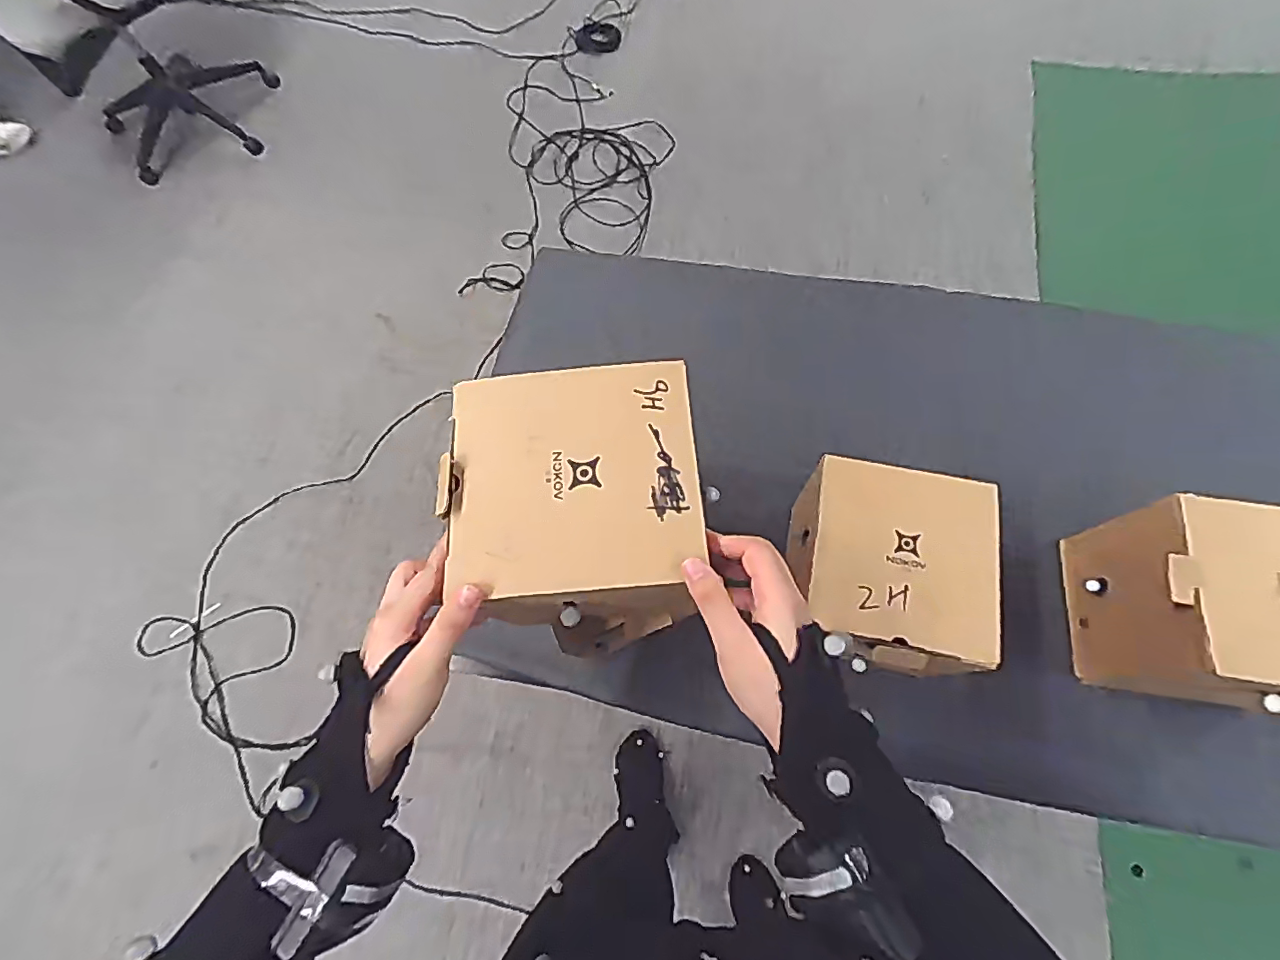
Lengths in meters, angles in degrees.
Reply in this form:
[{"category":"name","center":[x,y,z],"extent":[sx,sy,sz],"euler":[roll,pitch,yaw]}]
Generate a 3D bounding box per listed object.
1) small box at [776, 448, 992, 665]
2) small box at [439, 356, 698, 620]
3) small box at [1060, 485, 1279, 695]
[{"category":"small box","center":[0.247,0.090,0.580],"extent":[0.168,0.176,0.179],"euler":[10,70,9]},{"category":"small box","center":[-0.046,0.020,0.455],"extent":[0.179,0.176,0.168],"euler":[-7,70,3]},{"category":"small box","center":[0.575,0.119,0.544],"extent":[0.179,0.176,0.168],"euler":[6,69,8]}]
